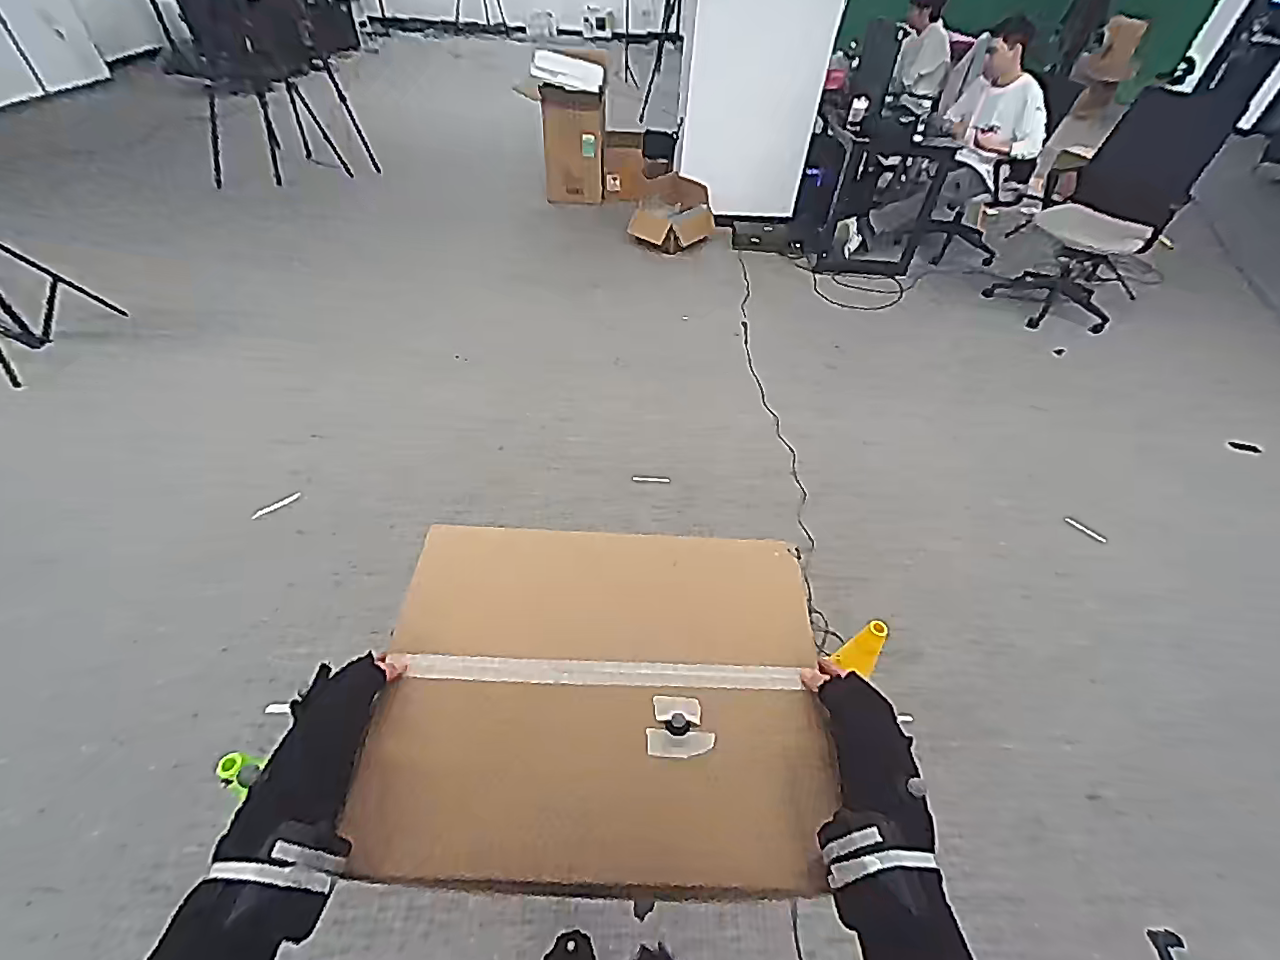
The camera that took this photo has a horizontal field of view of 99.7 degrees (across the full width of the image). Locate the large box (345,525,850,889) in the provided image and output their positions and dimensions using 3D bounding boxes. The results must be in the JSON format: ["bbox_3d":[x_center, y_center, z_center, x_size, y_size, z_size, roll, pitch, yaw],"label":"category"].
[{"bbox_3d":[-0.038,0.272,0.626,0.408,0.320,0.320,4,51,-2],"label":"large box"}]

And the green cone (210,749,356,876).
[{"bbox_3d":[-0.772,0.642,1.129,0.202,0.368,0.200,-28,53,-25],"label":"green cone"}]
